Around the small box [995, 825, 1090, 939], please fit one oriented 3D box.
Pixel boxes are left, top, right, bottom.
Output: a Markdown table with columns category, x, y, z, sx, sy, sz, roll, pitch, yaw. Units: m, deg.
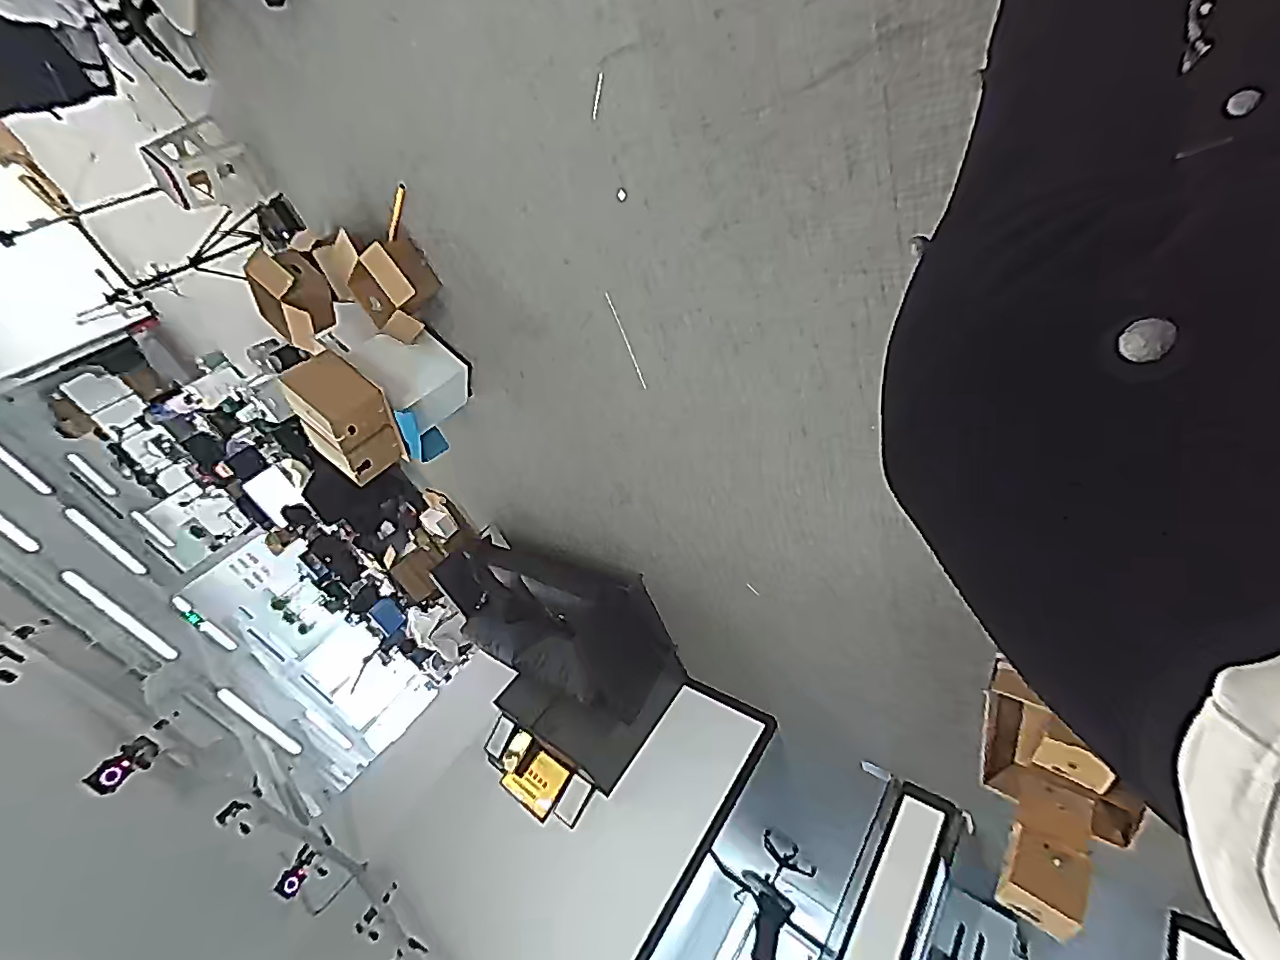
| category | x | y | z | sx | sy | sz | roll | pitch | yaw |
| --- | --- | --- | --- | --- | --- | --- | --- | --- | --- |
| small box | 1.117 | 1.109 | 1.500 | 0.168 | 0.176 | 0.179 | 19 | 138 | 34 |

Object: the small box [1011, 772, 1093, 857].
| category | x | y | z | sx | sy | sz | roll | pitch | yaw |
| --- | --- | --- | --- | --- | --- | --- | --- | --- | --- |
| small box | 1.210 | 1.007 | 1.589 | 0.168 | 0.176 | 0.179 | 11 | 134 | 42 |

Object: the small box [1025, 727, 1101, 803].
| category | x | y | z | sx | sy | sz | roll | pitch | yaw |
| --- | --- | --- | --- | --- | --- | --- | --- | --- | --- |
| small box | 1.308 | 0.913 | 1.678 | 0.168 | 0.176 | 0.179 | 11 | 134 | 41 |
